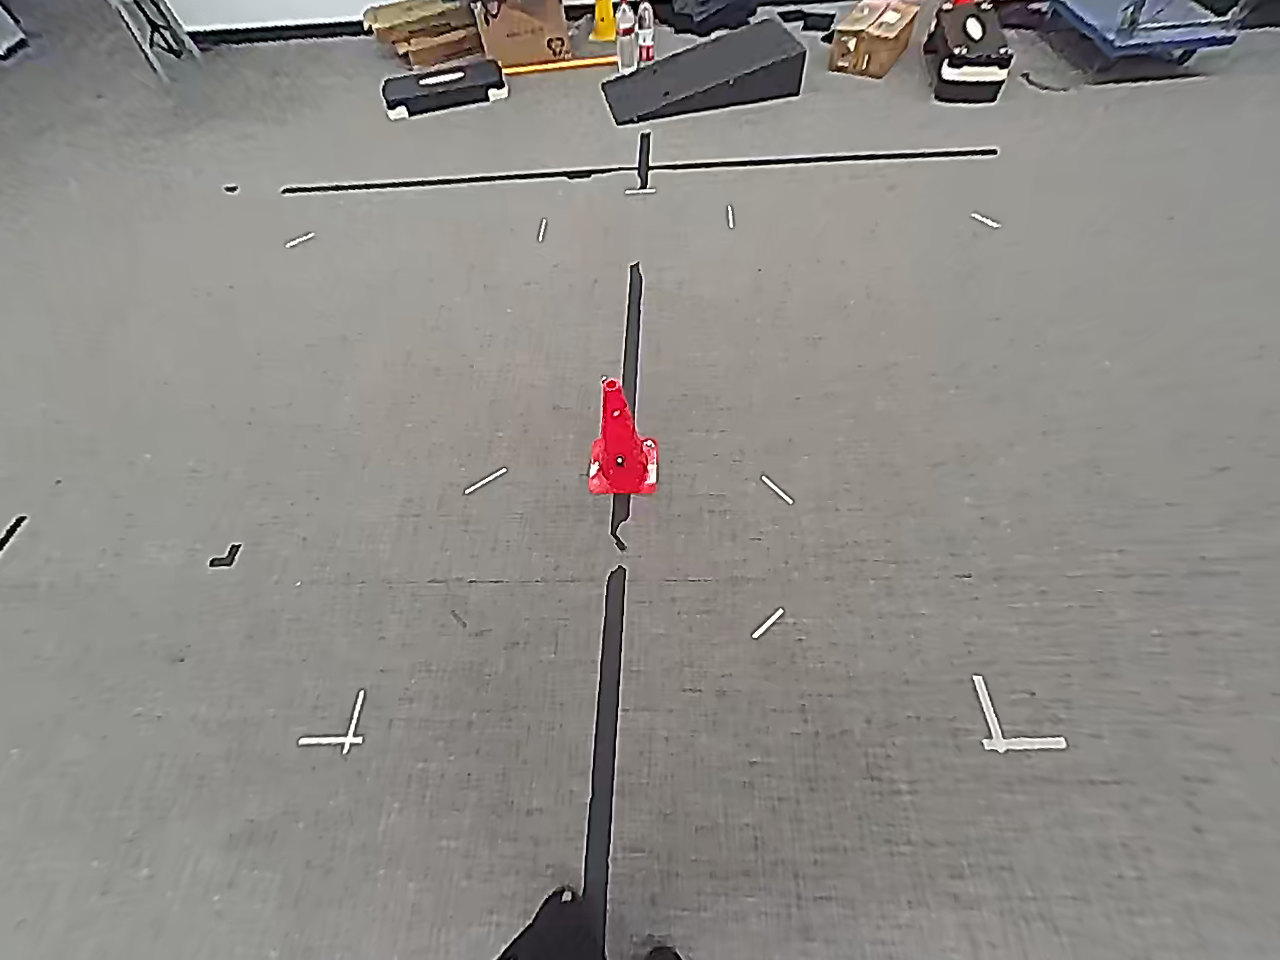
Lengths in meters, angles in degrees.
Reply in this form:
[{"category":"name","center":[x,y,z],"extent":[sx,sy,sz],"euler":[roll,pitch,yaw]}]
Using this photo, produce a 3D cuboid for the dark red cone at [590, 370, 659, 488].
[{"category":"dark red cone","center":[-0.058,-0.150,1.456],"extent":[0.201,0.394,0.202],"euler":[-1,58,5]}]
